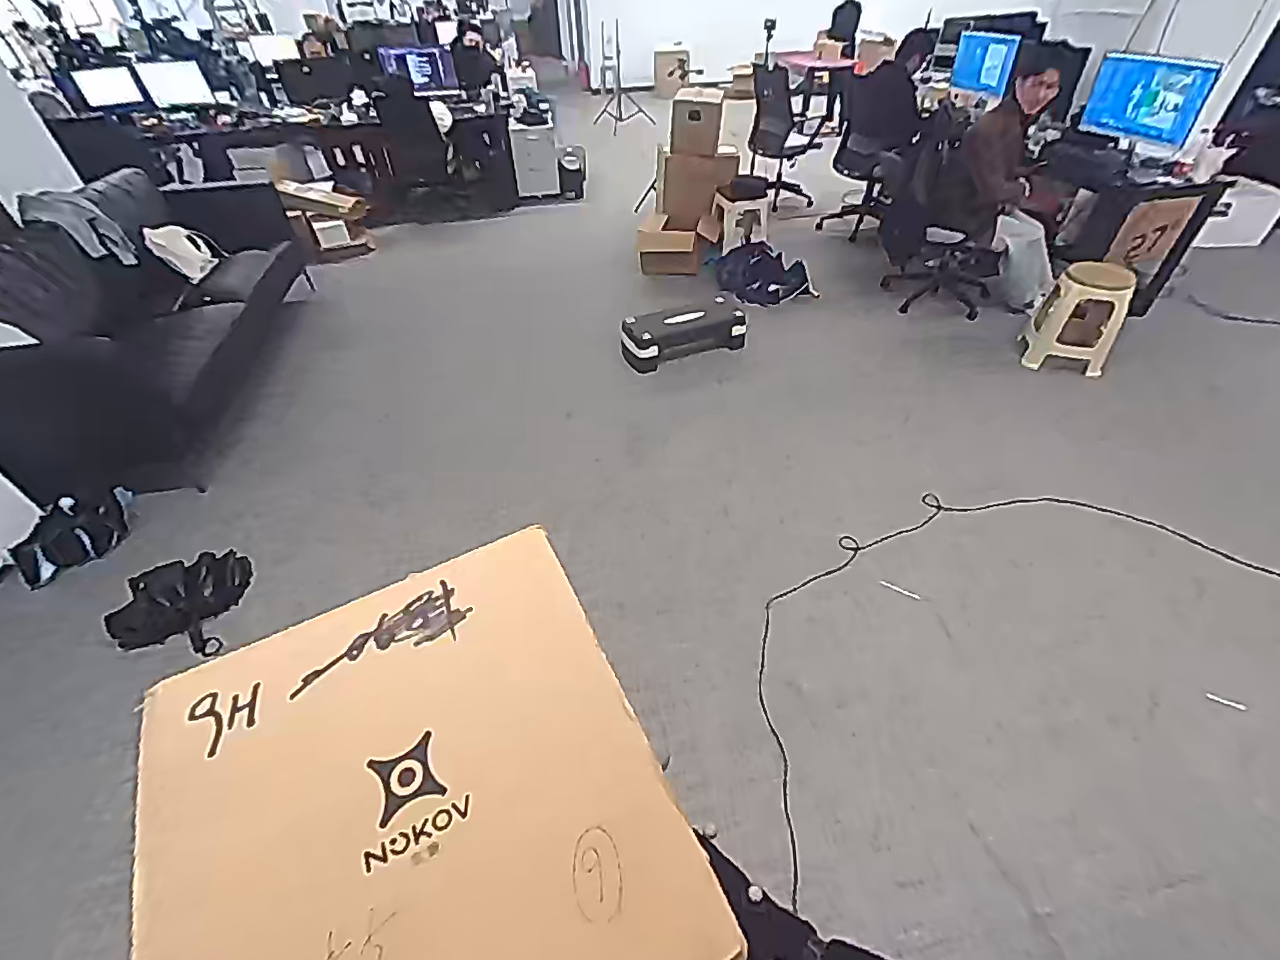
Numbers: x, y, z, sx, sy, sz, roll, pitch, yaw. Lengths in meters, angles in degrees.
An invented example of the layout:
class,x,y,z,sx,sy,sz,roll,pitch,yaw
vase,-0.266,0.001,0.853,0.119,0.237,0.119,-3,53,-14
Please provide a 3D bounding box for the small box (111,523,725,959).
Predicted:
class,x,y,z,sx,sy,sz,roll,pitch,yaw
small box,-0.083,0.156,0.247,0.168,0.176,0.179,-22,57,-16
